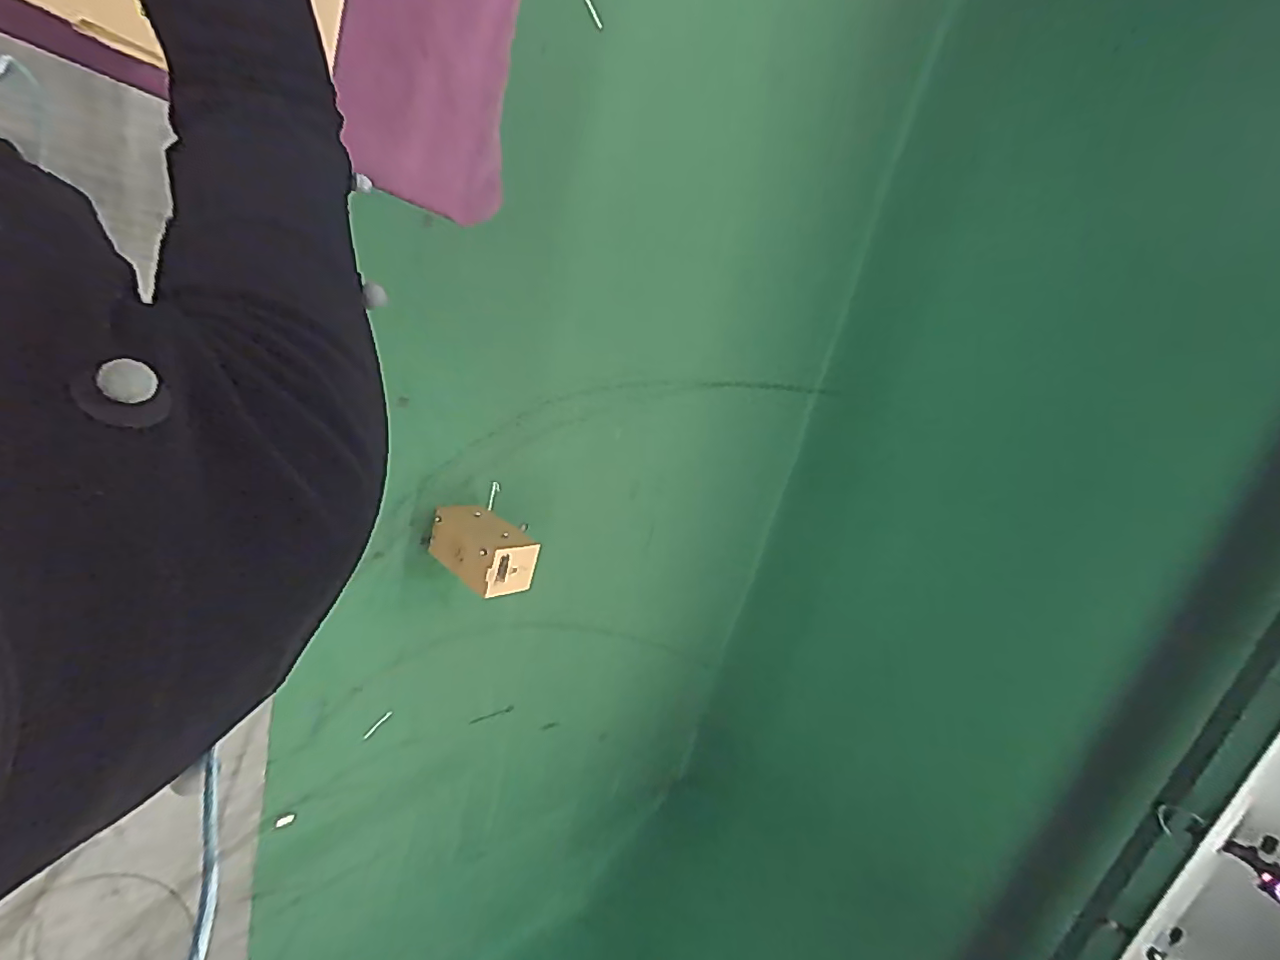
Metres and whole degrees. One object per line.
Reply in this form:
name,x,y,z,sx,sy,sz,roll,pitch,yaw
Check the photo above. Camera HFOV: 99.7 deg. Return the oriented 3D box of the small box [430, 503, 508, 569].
small box,-0.580,0.183,1.821,0.179,0.176,0.168,0,112,-52
